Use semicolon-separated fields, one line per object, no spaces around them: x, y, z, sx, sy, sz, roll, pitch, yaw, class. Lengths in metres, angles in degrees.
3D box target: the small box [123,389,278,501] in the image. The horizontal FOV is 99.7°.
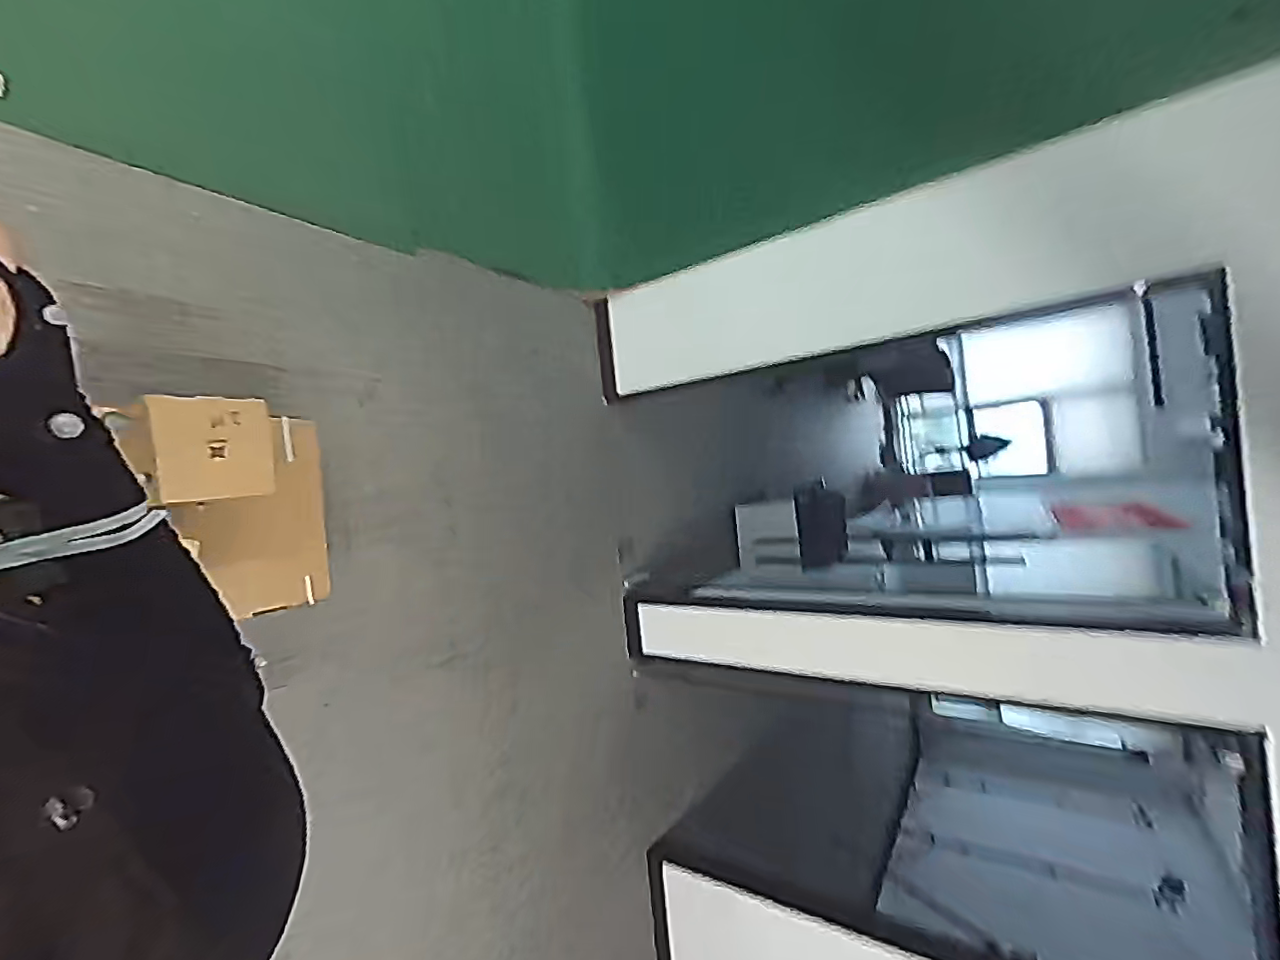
-0.776;-0.055;0.956;0.168;0.176;0.179;-6;91;-57;small box
